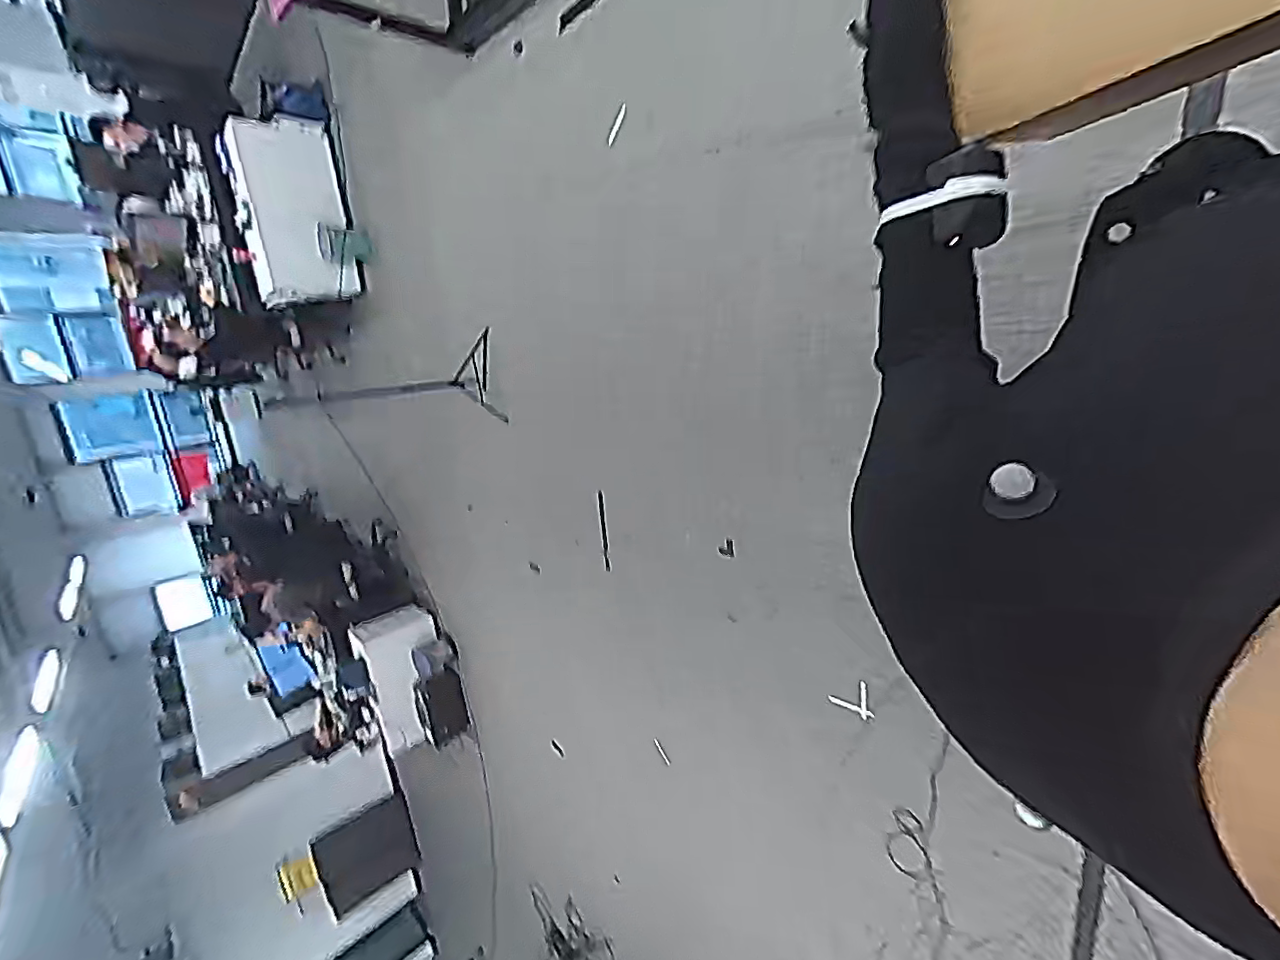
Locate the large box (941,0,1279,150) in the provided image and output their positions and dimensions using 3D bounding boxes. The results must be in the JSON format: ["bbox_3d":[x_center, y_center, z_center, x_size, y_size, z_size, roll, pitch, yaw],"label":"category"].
[{"bbox_3d":[0.443,-0.472,0.350,0.408,0.320,0.320,-5,111,47],"label":"large box"}]
